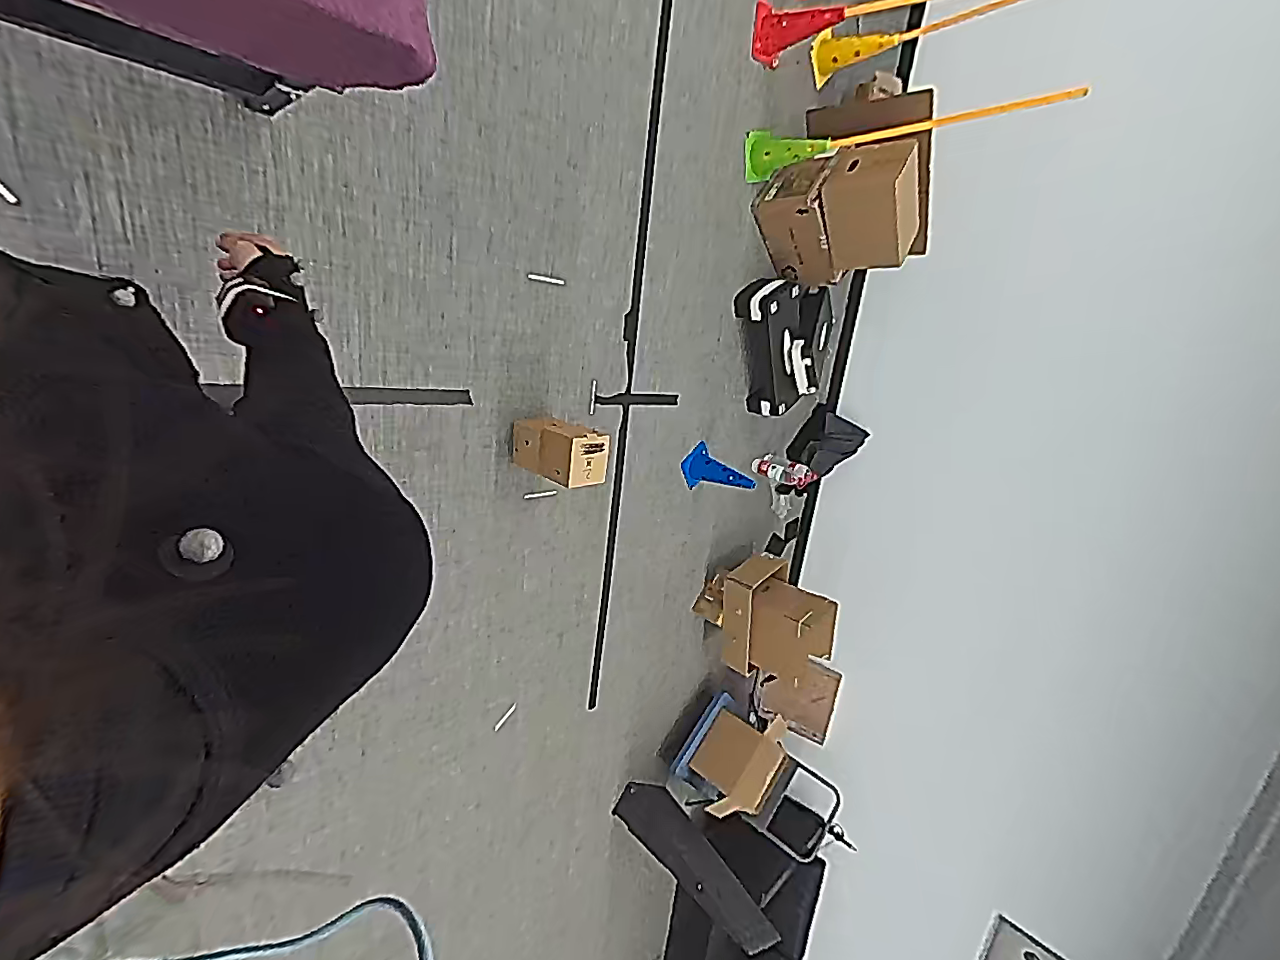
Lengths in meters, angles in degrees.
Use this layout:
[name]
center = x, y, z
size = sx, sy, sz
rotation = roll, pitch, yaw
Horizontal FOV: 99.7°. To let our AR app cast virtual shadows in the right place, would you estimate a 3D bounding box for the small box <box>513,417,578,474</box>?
[small box]
center = -0.349, -0.130, 1.970
size = 0.179, 0.176, 0.168
rotation = -14, 116, -44
